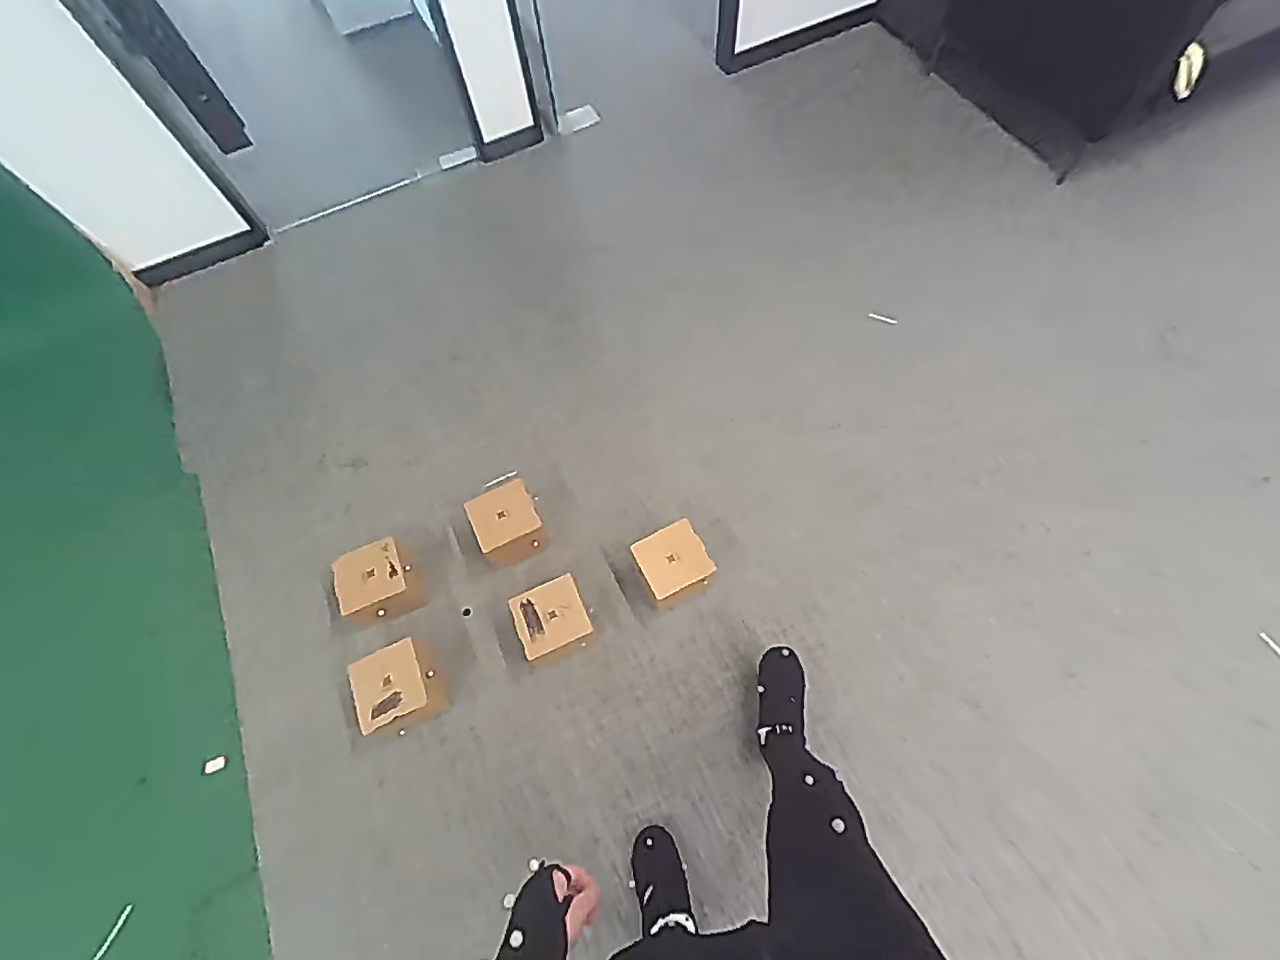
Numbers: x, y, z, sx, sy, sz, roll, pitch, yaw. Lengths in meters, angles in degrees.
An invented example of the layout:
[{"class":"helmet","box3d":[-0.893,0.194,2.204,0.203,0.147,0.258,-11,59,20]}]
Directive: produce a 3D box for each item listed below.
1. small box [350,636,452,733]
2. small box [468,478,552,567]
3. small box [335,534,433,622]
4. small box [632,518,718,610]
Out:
[{"class":"small box","box3d":[-0.601,0.521,1.377,0.168,0.176,0.179,-23,66,-8]},{"class":"small box","box3d":[-0.362,0.124,1.546,0.179,0.176,0.168,-25,66,-8]},{"class":"small box","box3d":[-0.703,0.277,1.495,0.179,0.176,0.168,-23,66,-6]},{"class":"small box","box3d":[0.094,0.235,1.473,0.179,0.176,0.168,-26,67,-9]}]
